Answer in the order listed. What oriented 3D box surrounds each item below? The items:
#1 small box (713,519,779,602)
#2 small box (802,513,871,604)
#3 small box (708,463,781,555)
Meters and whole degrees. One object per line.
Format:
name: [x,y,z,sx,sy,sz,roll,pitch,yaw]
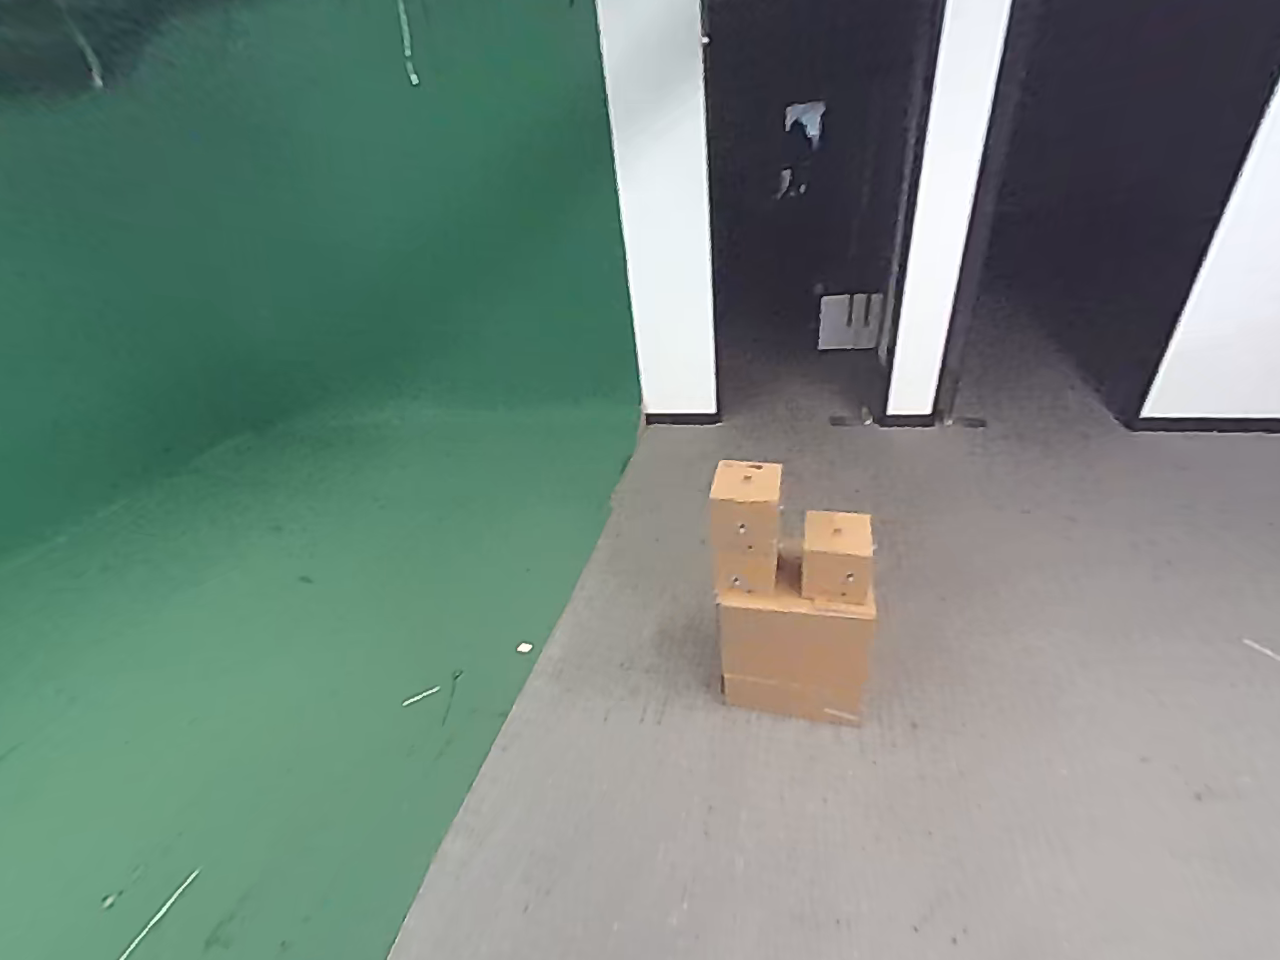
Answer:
small box: [0.295,0.210,1.503,0.168,0.176,0.179,3,35,15]
small box: [0.525,0.210,1.448,0.168,0.176,0.179,3,32,19]
small box: [0.276,0.076,1.411,0.168,0.176,0.179,4,35,16]
